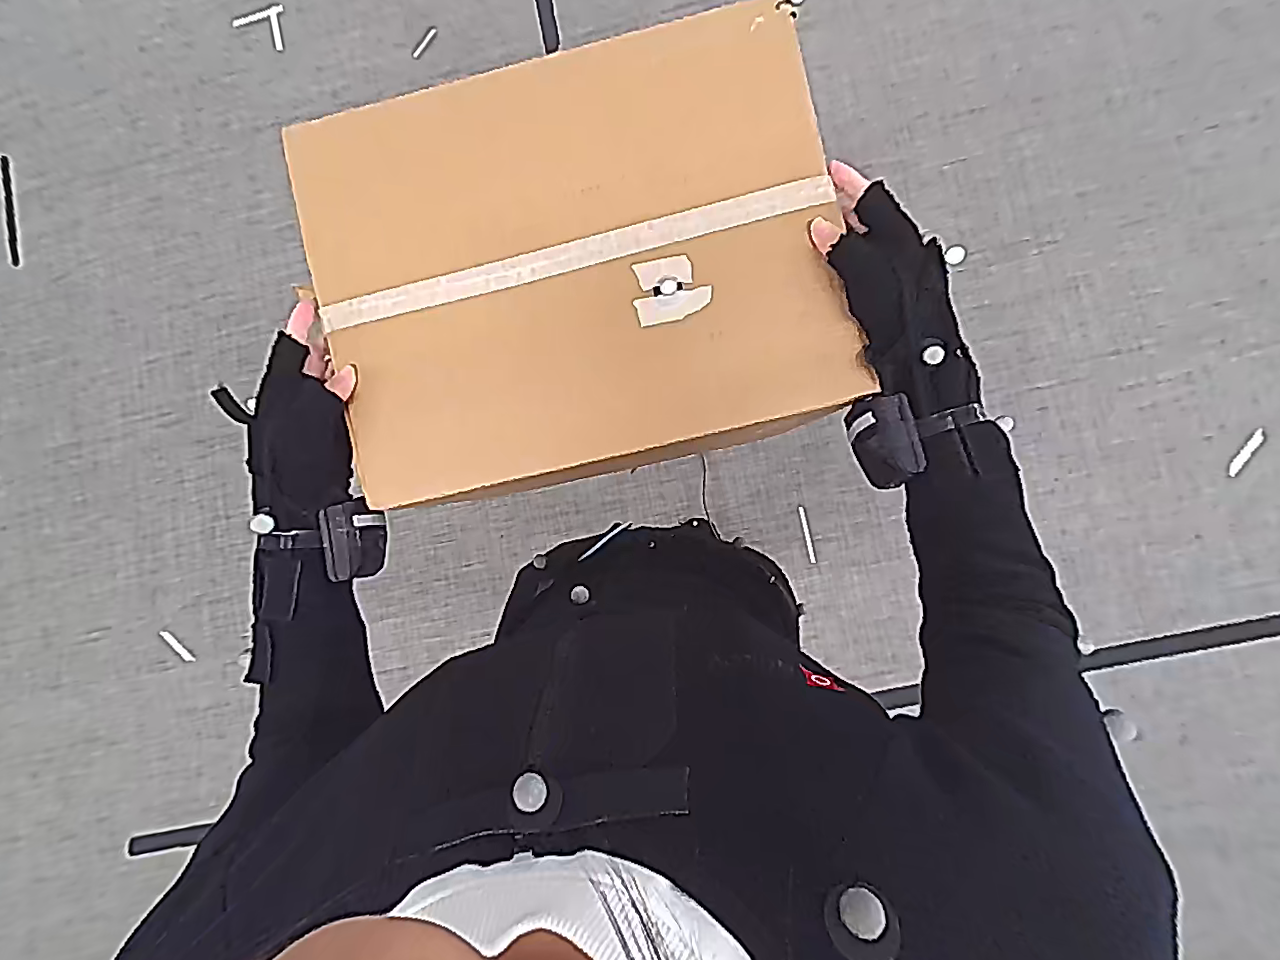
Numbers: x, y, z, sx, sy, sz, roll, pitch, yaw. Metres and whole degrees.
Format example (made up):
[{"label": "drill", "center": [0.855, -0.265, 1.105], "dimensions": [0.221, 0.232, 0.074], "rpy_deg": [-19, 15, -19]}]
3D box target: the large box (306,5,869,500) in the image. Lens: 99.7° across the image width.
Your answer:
[{"label": "large box", "center": [-0.042, -0.177, 0.578], "dimensions": [0.408, 0.320, 0.320], "rpy_deg": [-13, 90, 2]}]
